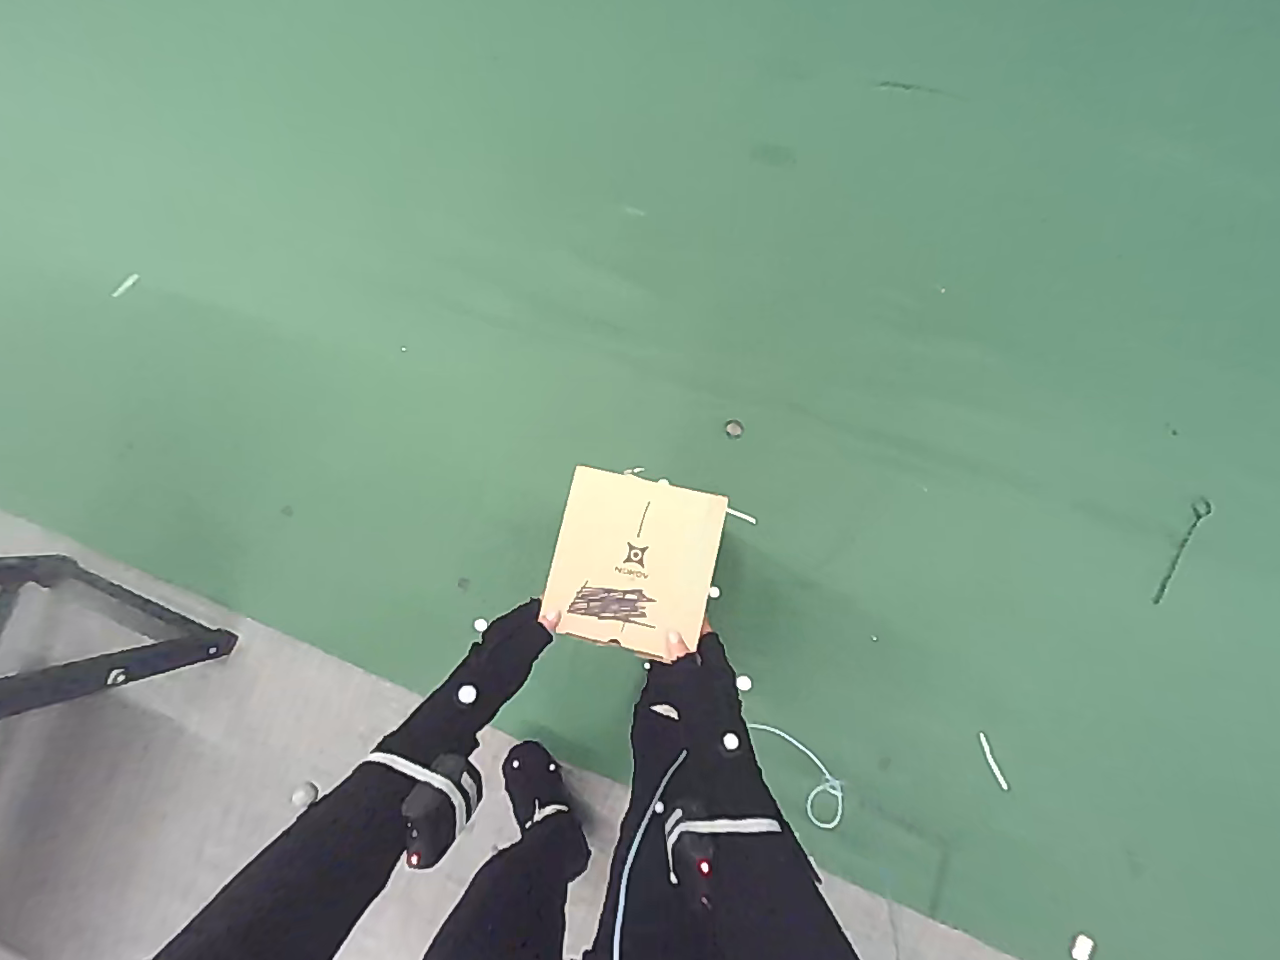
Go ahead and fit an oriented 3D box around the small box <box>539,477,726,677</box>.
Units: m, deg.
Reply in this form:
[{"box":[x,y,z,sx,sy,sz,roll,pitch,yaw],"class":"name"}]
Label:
[{"box":[-0.001,0.109,0.635,0.168,0.176,0.179,12,82,6],"class":"small box"}]
